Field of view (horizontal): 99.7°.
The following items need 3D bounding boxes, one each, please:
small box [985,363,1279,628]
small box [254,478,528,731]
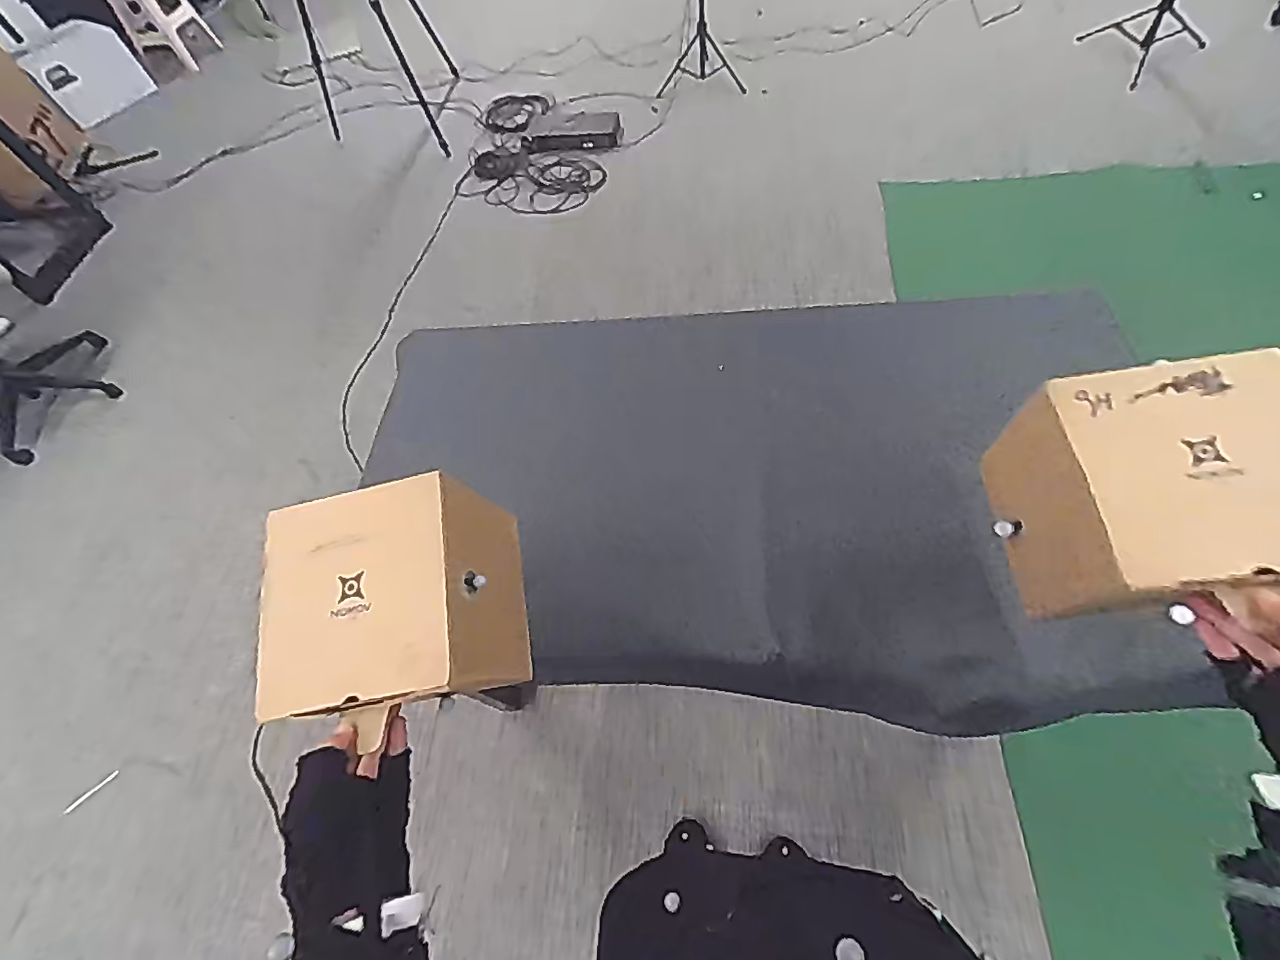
[{"bbox_3d":[0.433,0.029,0.464,0.168,0.176,0.179,-7,66,10],"label":"small box"},{"bbox_3d":[-0.214,0.119,0.504,0.168,0.176,0.179,-13,69,6],"label":"small box"}]
